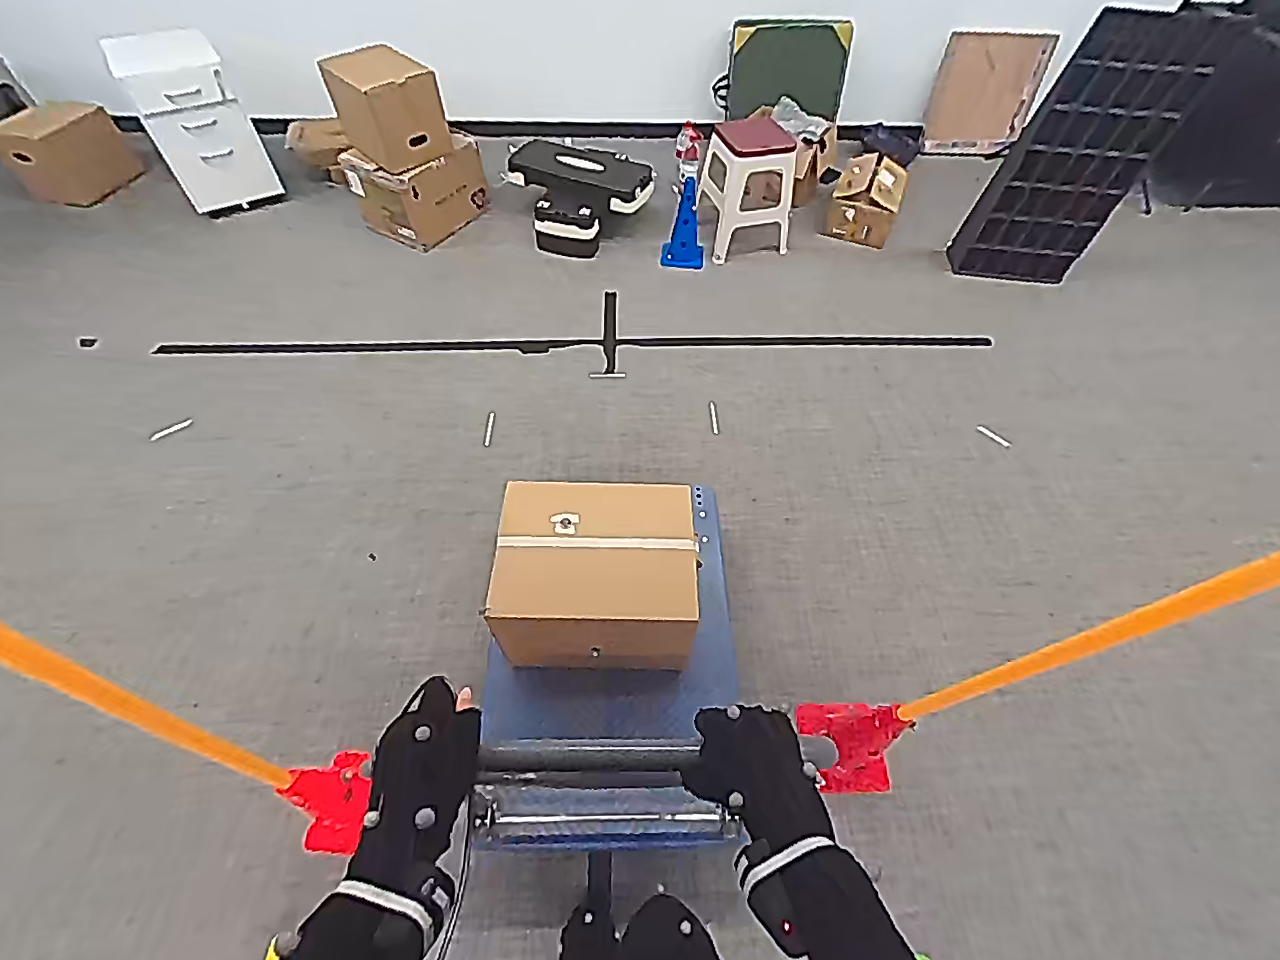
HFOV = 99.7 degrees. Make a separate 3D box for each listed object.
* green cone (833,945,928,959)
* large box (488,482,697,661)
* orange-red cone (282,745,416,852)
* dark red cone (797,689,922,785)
[{"bbox_3d":[0.494,0.936,0.910,0.202,0.368,0.200,4,54,-1],"label":"green cone"},{"bbox_3d":[-0.092,0.215,1.229,0.408,0.320,0.320,1,54,-1],"label":"large box"},{"bbox_3d":[-0.626,0.619,1.098,0.198,0.360,0.199,6,53,1],"label":"orange-red cone"},{"bbox_3d":[0.503,0.533,1.180,0.201,0.394,0.202,1,54,-4],"label":"dark red cone"}]
